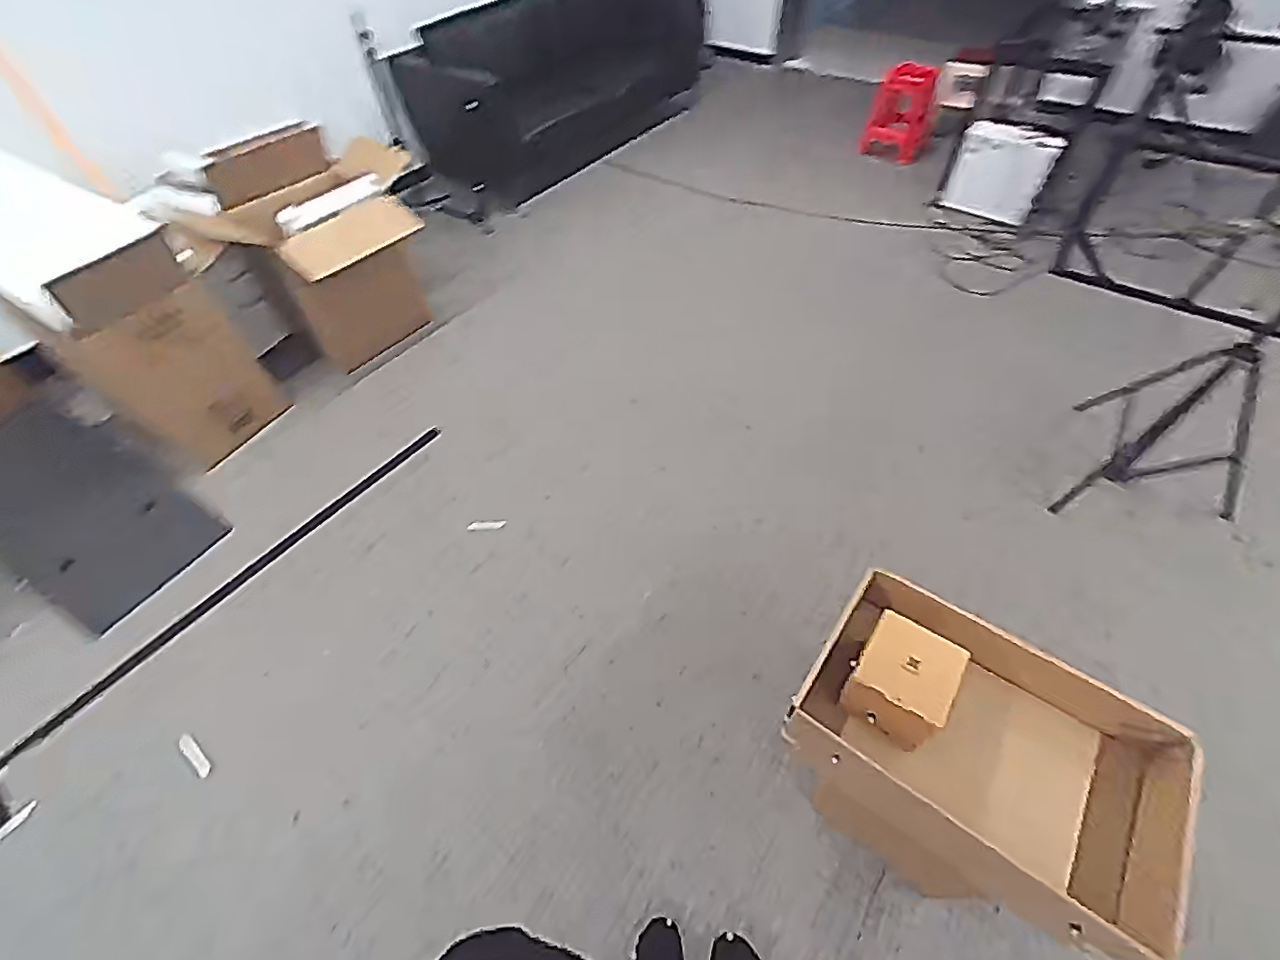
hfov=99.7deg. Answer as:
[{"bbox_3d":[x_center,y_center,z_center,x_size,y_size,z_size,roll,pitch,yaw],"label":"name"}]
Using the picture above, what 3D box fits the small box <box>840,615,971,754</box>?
[{"bbox_3d":[0.528,0.414,1.093,0.168,0.176,0.179,28,58,23],"label":"small box"}]
